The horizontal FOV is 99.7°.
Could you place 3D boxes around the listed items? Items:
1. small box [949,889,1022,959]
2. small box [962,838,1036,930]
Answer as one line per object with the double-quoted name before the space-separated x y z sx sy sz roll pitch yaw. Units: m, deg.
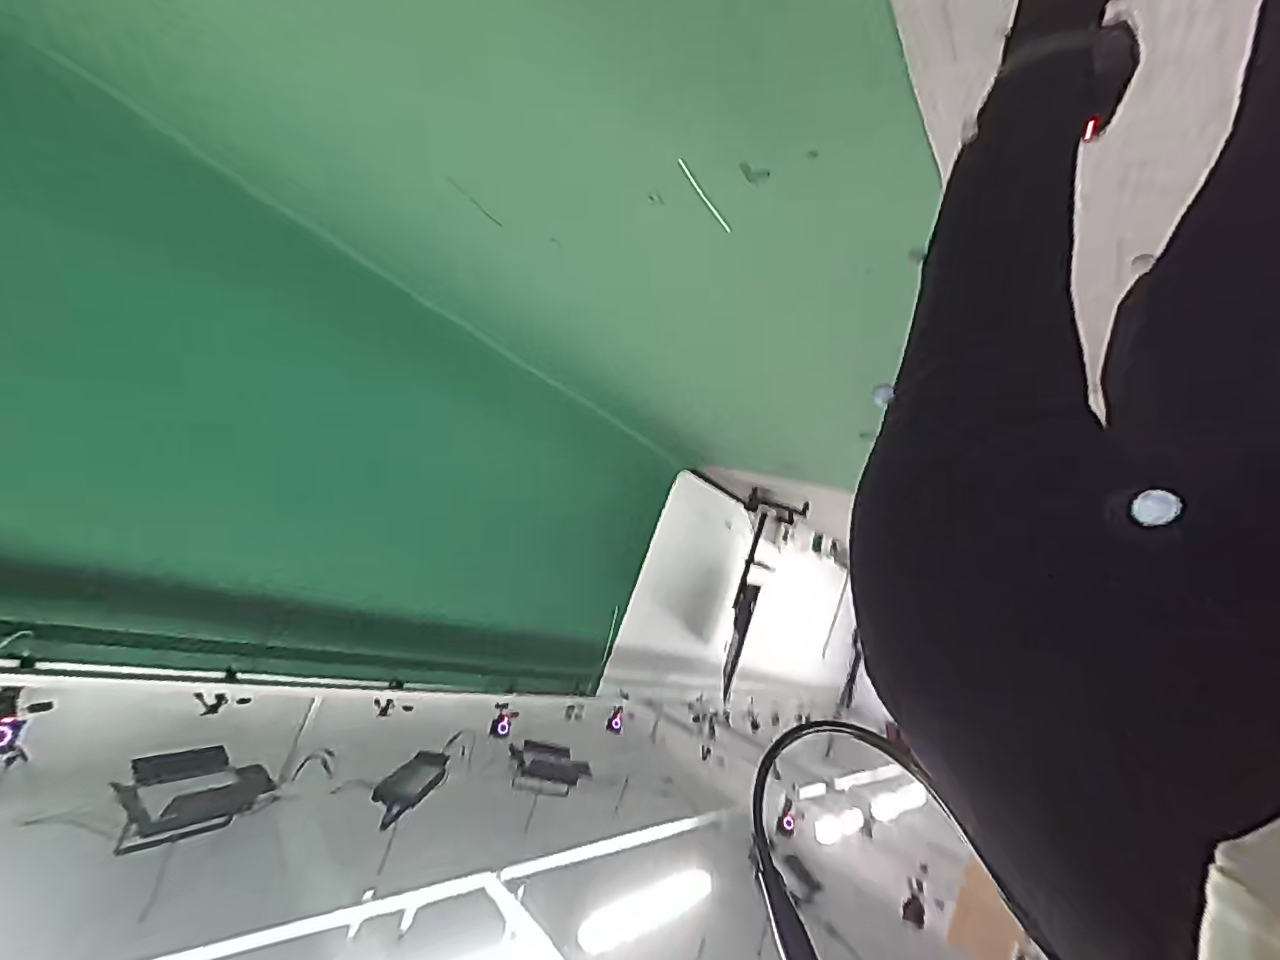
"small box" 1.165 1.506 1.813 0.179 0.176 0.168 14 171 41
"small box" 1.216 1.350 1.823 0.179 0.176 0.168 14 170 43
